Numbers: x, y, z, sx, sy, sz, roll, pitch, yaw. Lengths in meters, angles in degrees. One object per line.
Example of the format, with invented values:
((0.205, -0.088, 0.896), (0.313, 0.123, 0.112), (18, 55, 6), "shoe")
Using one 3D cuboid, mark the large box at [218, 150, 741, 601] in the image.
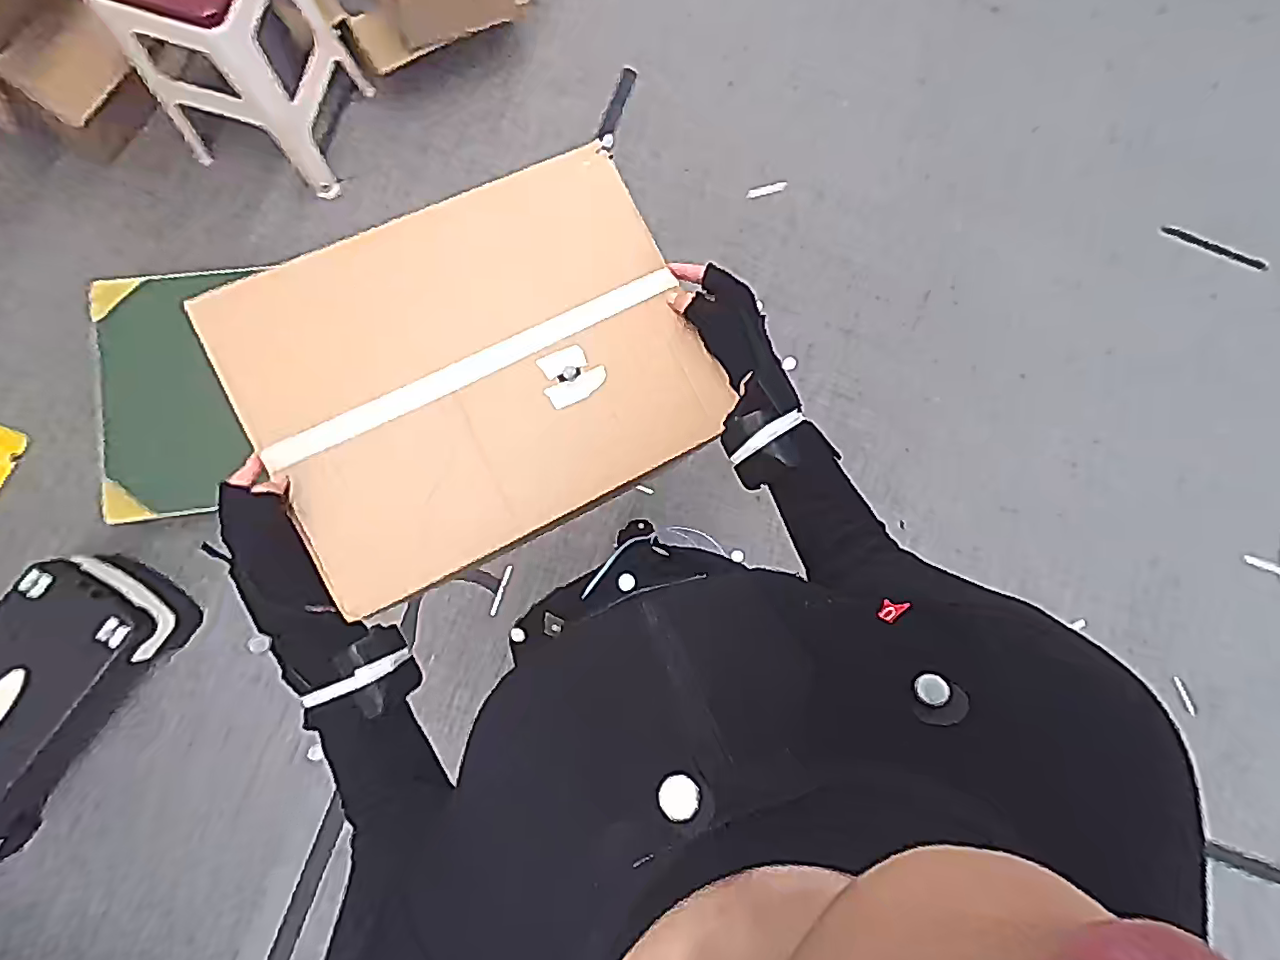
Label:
((-0.160, -0.098, 0.656), (0.408, 0.320, 0.320), (-26, 90, -10), "large box")
